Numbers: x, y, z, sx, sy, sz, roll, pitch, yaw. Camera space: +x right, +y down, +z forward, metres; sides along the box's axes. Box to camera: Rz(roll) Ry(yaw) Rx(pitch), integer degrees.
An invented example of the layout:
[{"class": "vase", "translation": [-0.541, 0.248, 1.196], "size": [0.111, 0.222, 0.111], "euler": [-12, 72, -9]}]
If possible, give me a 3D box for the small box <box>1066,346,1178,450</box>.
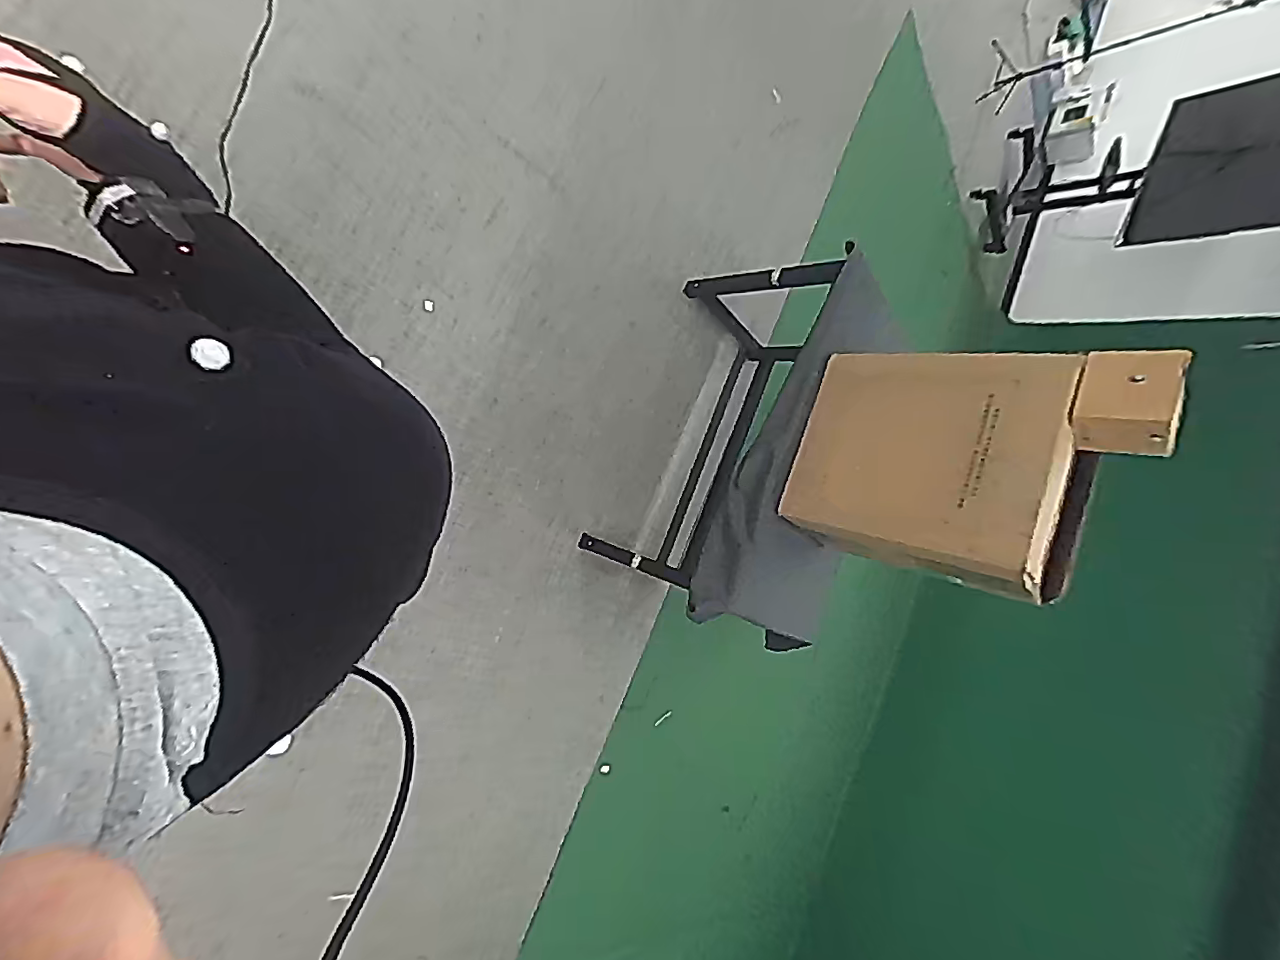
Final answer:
[{"class": "small box", "translation": [1.098, -0.187, 1.239], "size": [0.168, 0.176, 0.179], "euler": [34, 74, -42]}]
